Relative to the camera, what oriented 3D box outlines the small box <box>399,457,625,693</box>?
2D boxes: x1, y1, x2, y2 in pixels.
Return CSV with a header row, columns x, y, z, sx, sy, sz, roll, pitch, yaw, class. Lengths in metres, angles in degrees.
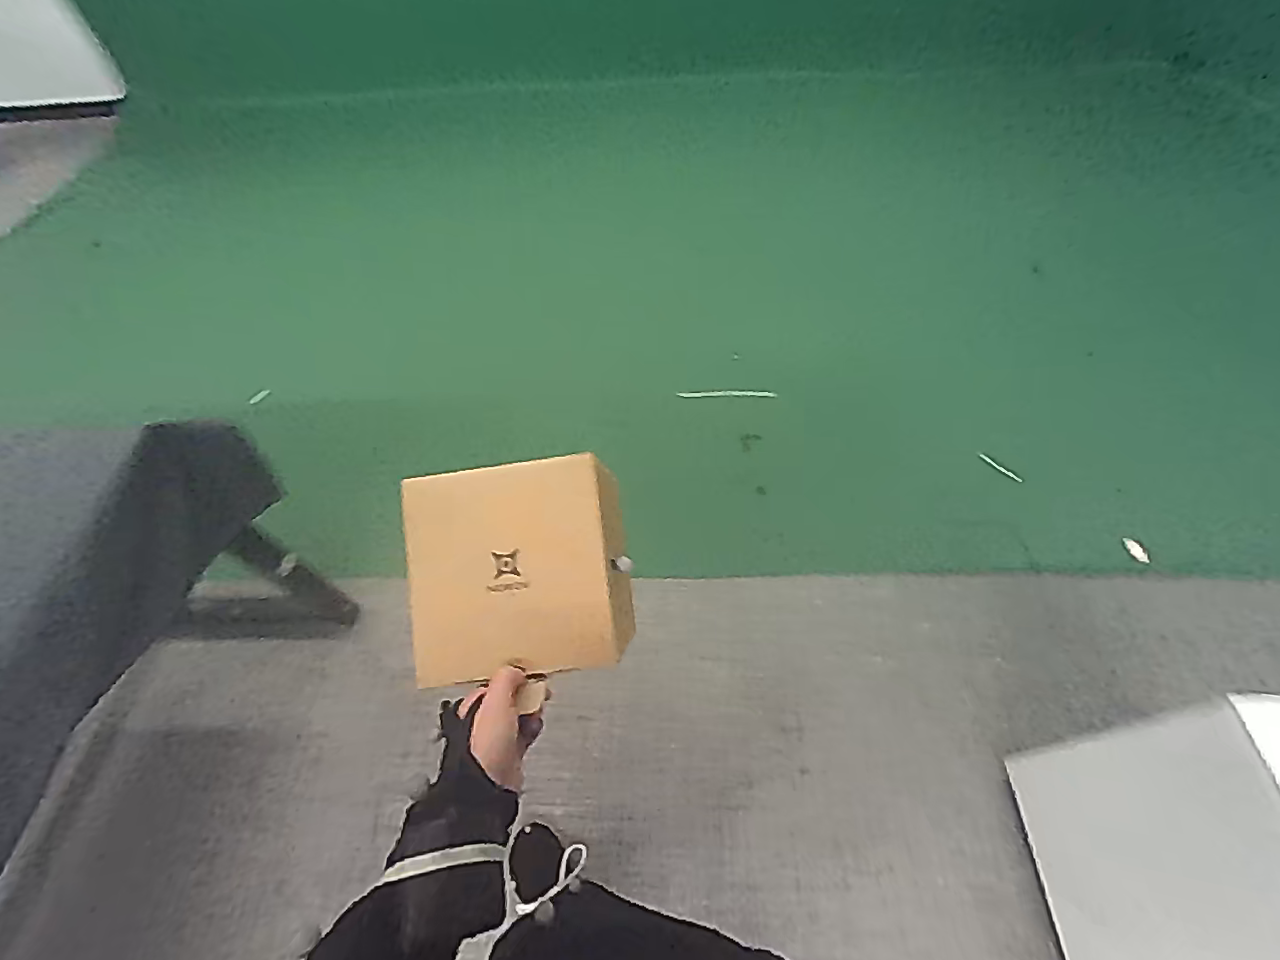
x,y,z,sx,sy,sz,roll,pitch,yaw,class
-0.108,0.086,0.517,0.168,0.176,0.179,-8,83,2,small box
